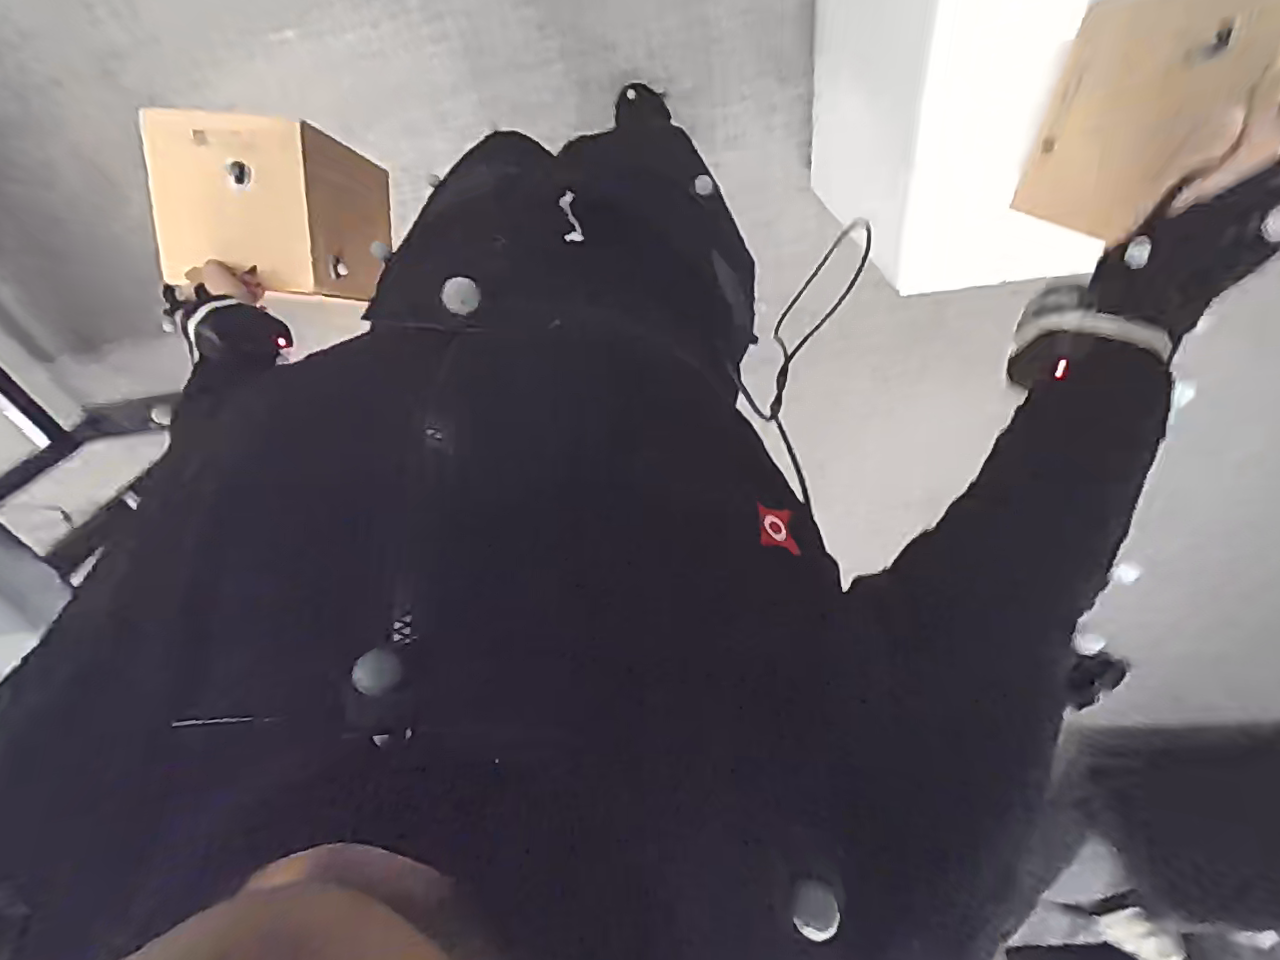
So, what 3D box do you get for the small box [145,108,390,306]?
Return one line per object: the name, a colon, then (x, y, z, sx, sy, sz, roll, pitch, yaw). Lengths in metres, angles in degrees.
small box: (-0.413, -0.301, 0.628, 0.168, 0.179, 0.176, 5, 106, 2)
